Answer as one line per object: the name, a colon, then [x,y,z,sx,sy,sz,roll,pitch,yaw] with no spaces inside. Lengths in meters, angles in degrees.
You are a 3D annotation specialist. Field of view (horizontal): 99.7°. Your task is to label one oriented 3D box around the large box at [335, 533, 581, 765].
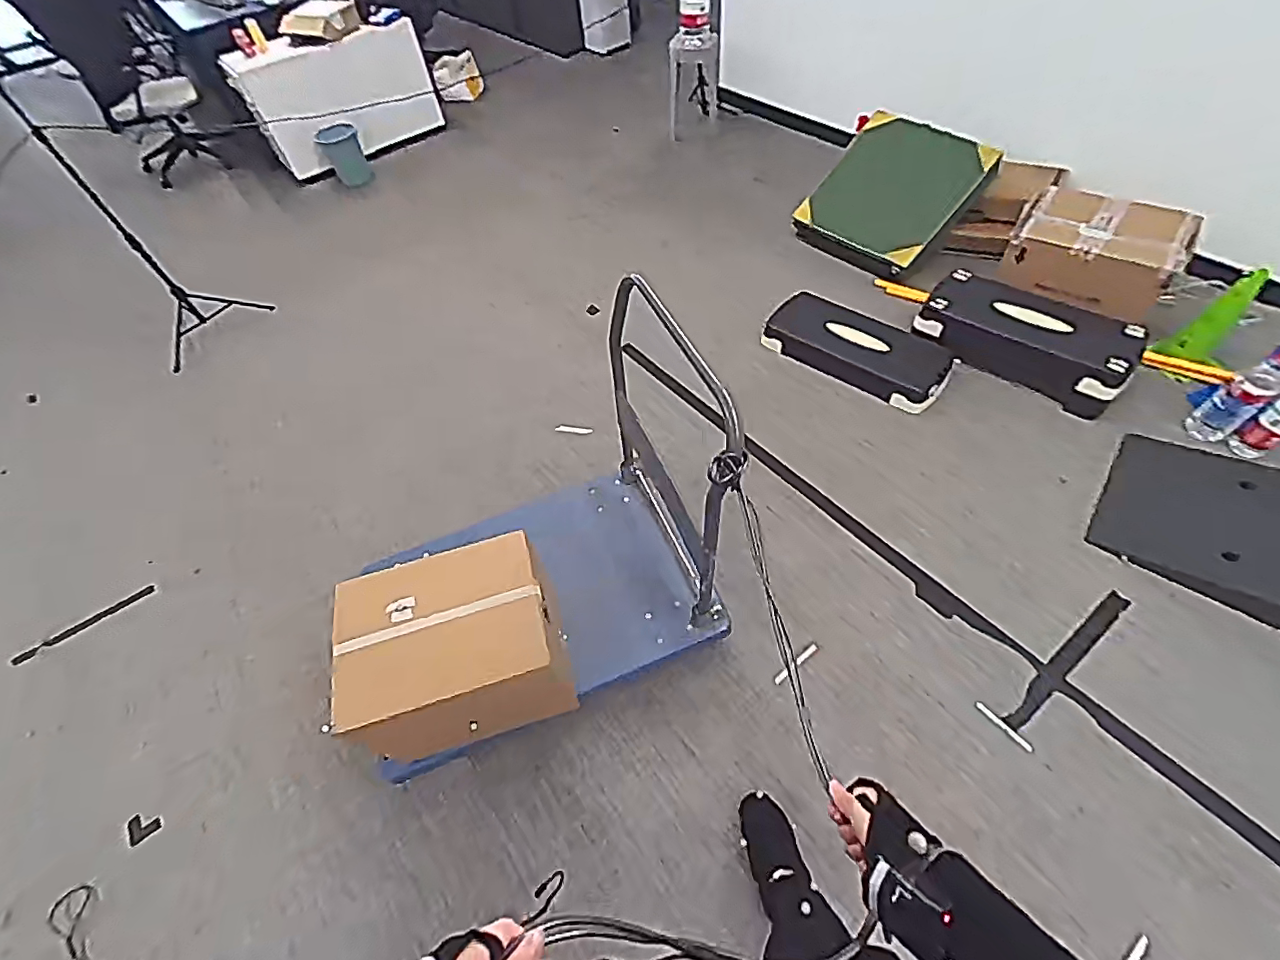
large box: [-0.380,0.373,1.179,0.408,0.320,0.320,-17,53,-6]
